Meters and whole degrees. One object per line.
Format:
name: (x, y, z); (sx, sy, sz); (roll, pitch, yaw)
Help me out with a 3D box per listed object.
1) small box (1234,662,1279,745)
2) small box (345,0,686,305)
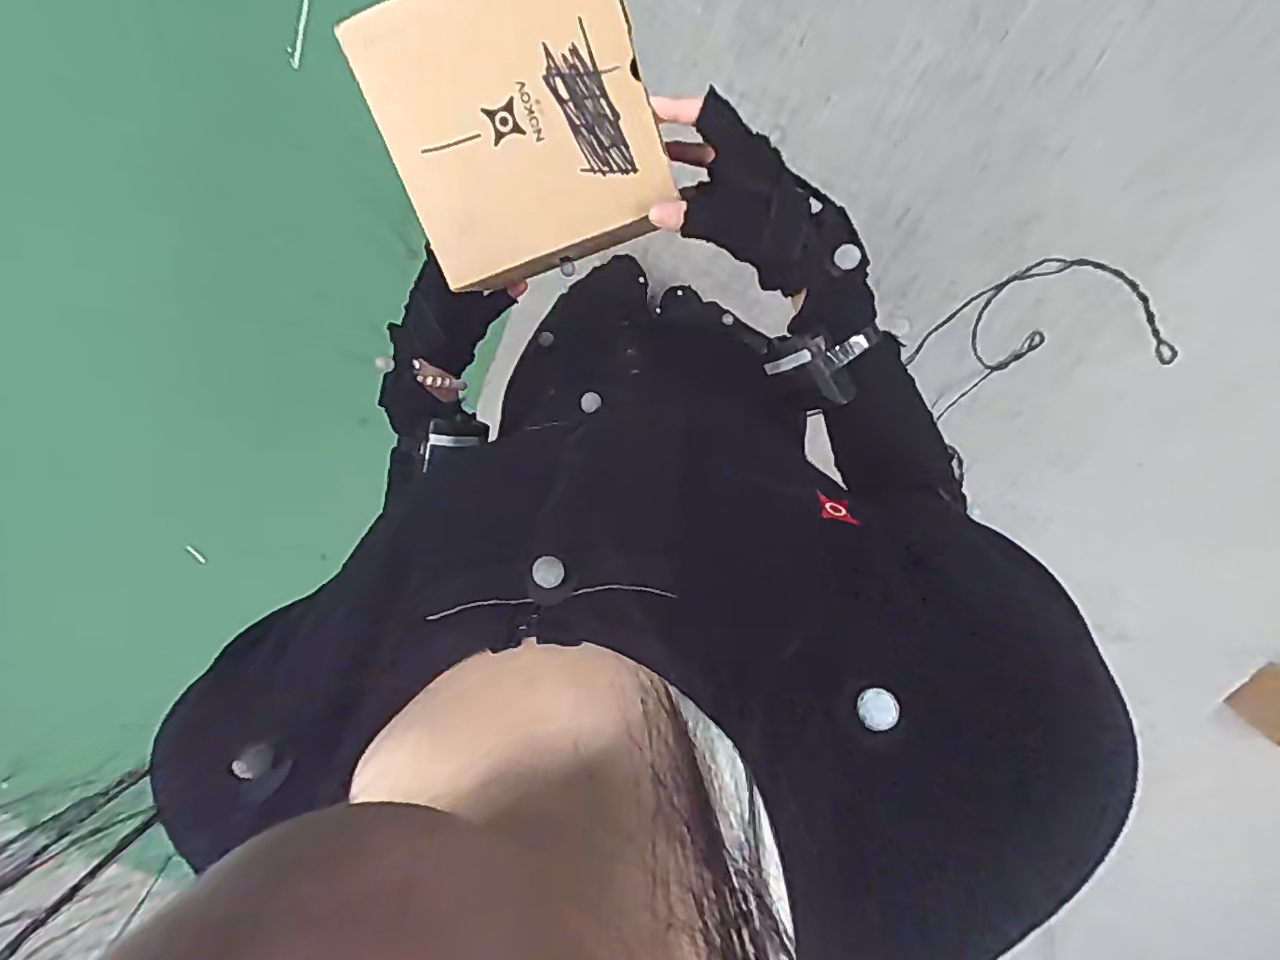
small box: (1.828, 0.643, 1.492); (0.168, 0.176, 0.179); (24, 110, -3)
small box: (-0.078, -0.250, 0.424); (0.179, 0.176, 0.168); (-18, 109, 5)
